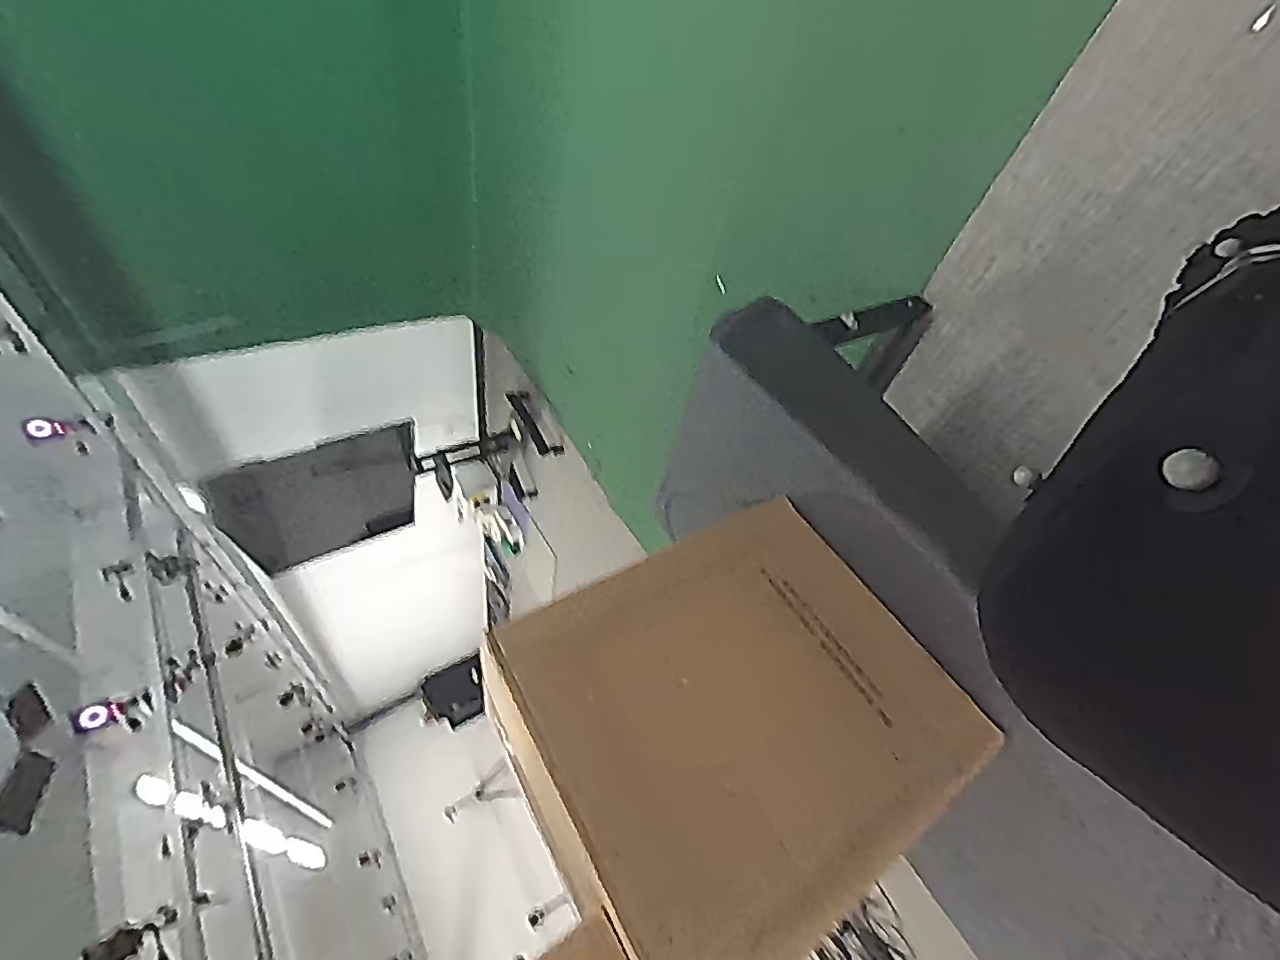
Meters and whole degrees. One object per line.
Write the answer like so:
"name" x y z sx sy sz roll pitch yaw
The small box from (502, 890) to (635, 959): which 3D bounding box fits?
"small box" -0.087 0.608 0.614 0.168 0.176 0.179 52 145 29
